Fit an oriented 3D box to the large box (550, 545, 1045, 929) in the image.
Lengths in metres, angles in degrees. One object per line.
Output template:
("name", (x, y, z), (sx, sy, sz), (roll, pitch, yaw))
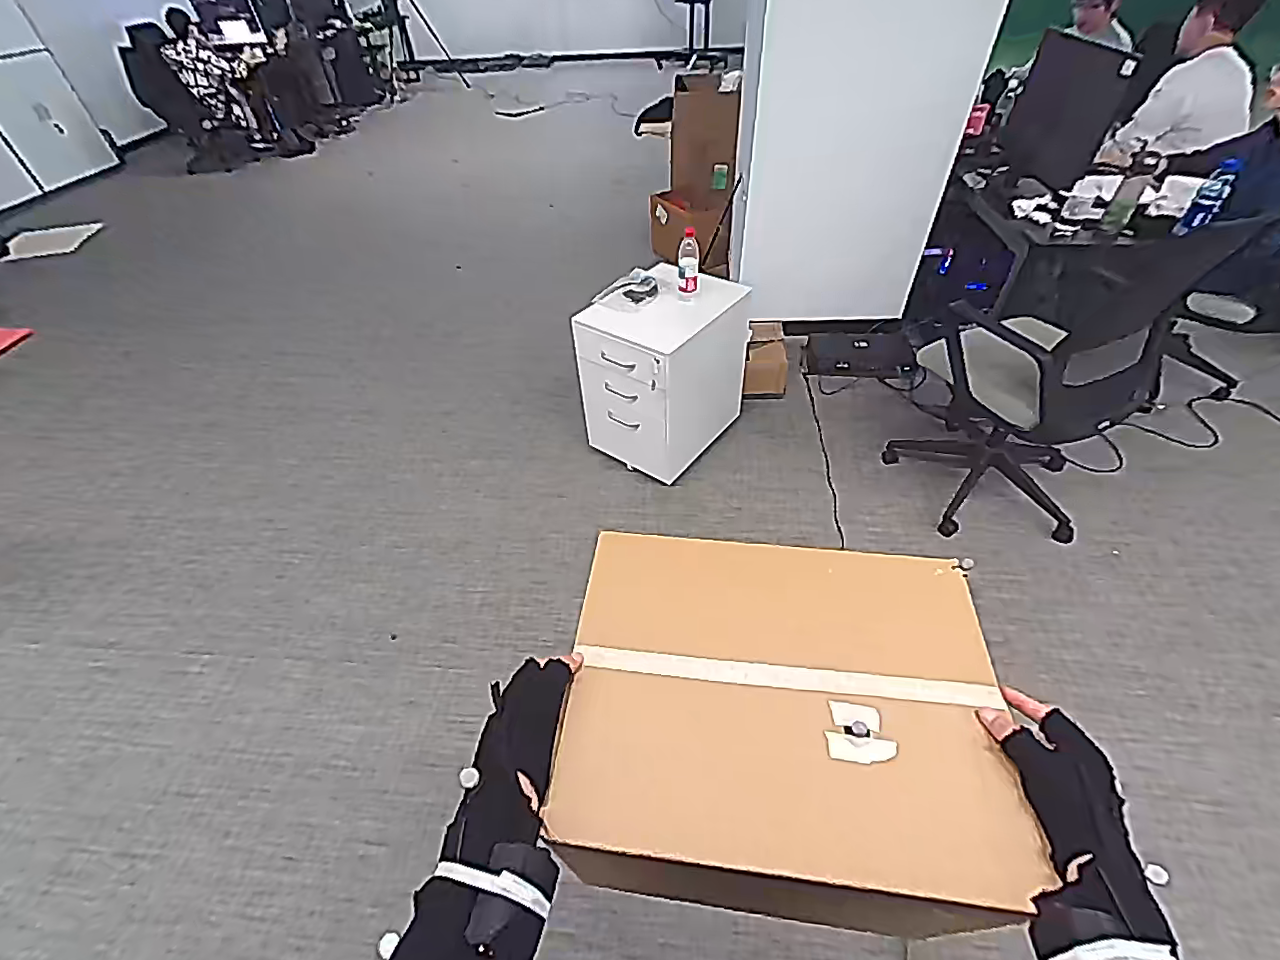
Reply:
("large box", (0.139, 0.302, 0.644), (0.408, 0.320, 0.320), (4, 49, 7))
